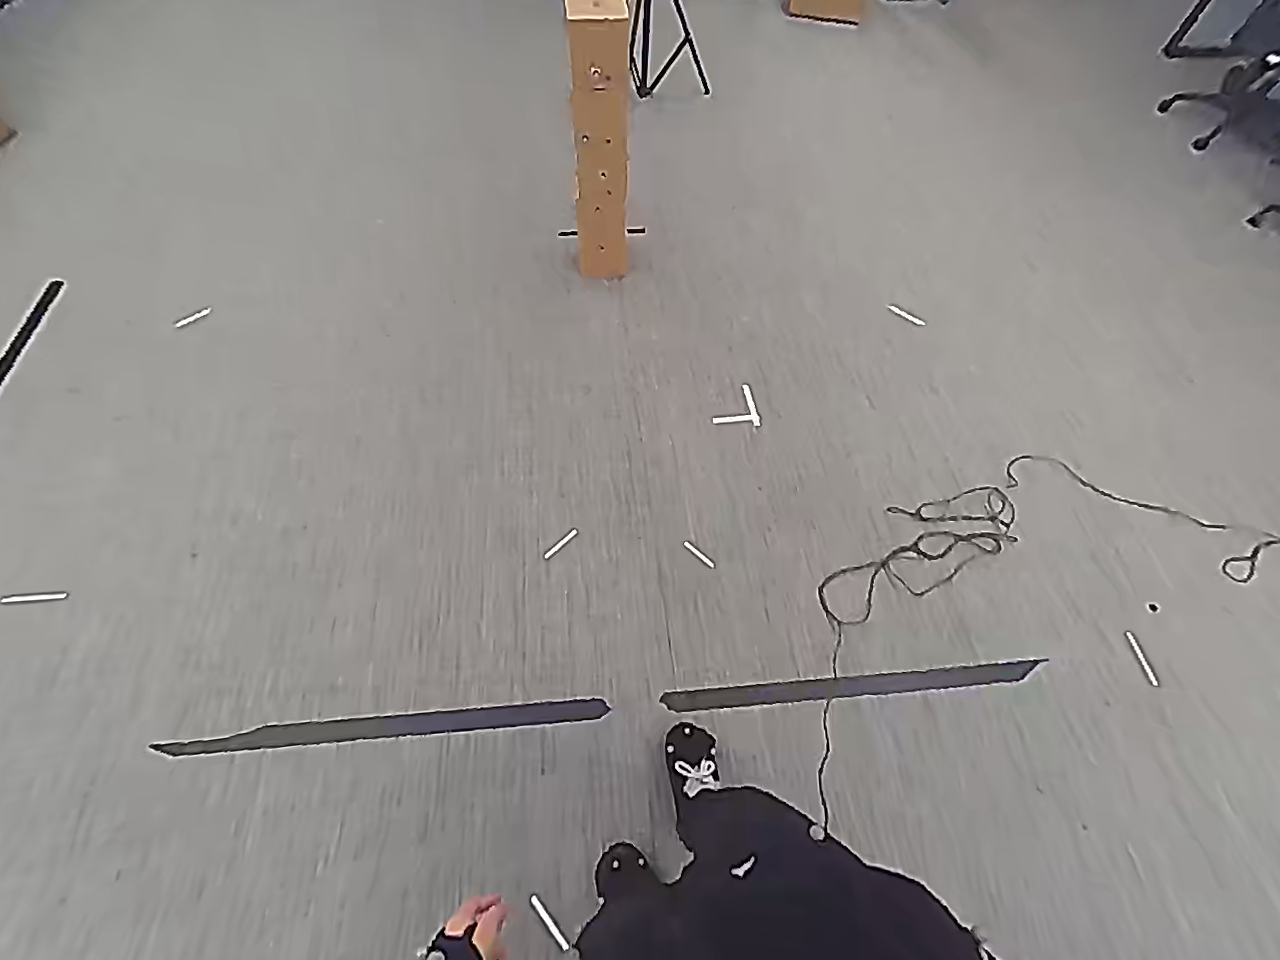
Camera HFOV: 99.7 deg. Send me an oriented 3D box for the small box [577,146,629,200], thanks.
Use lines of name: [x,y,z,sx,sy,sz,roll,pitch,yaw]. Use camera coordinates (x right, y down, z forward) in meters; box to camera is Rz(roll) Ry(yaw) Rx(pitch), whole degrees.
small box: [-0.122,-1.055,1.800,0.168,0.176,0.179,-2,61,-4]

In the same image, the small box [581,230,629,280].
small box: [-0.137,-0.893,2.084,0.179,0.176,0.168,-4,61,-5]

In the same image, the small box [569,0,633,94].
small box: [-0.111,-1.220,1.519,0.168,0.176,0.179,-5,62,-4]

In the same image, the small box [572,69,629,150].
small box: [-0.119,-1.139,1.659,0.168,0.176,0.179,-3,60,-4]

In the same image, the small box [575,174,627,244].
small box: [-0.137,-0.971,1.939,0.179,0.176,0.168,-2,61,-3]
